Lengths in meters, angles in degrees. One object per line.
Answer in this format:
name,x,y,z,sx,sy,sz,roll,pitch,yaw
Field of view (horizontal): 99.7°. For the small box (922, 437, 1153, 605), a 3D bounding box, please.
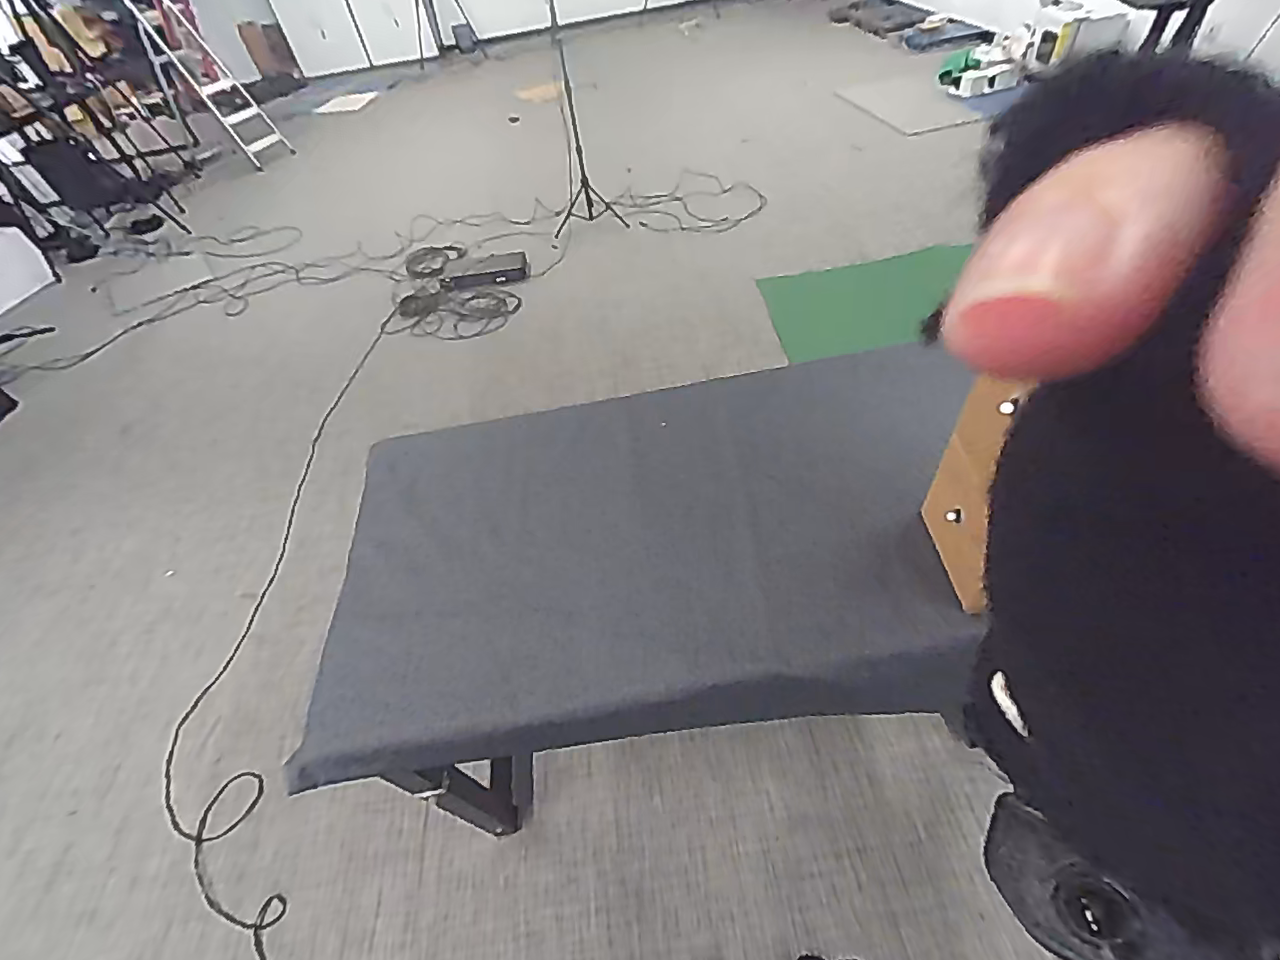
small box,0.503,0.055,0.717,0.168,0.176,0.179,-5,47,6
